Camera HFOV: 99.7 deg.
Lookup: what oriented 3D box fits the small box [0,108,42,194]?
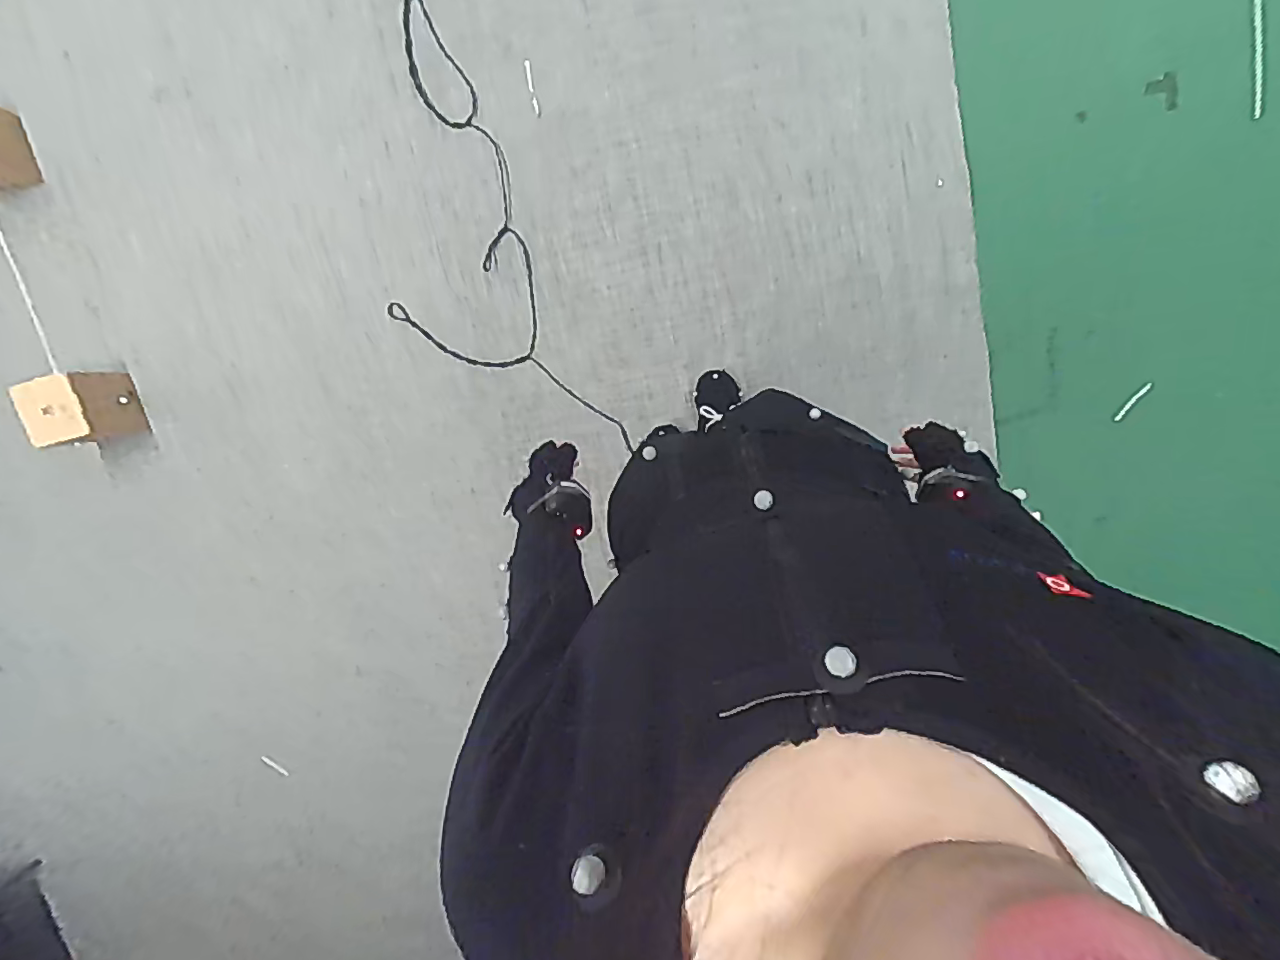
[{"bbox_3d":[-1.683,-0.845,1.350,0.168,0.176,0.179,-13,100,5],"label":"small box"}]

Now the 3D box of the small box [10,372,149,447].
[{"bbox_3d":[-1.508,-0.193,1.466,0.179,0.176,0.168,-13,100,6],"label":"small box"}]
